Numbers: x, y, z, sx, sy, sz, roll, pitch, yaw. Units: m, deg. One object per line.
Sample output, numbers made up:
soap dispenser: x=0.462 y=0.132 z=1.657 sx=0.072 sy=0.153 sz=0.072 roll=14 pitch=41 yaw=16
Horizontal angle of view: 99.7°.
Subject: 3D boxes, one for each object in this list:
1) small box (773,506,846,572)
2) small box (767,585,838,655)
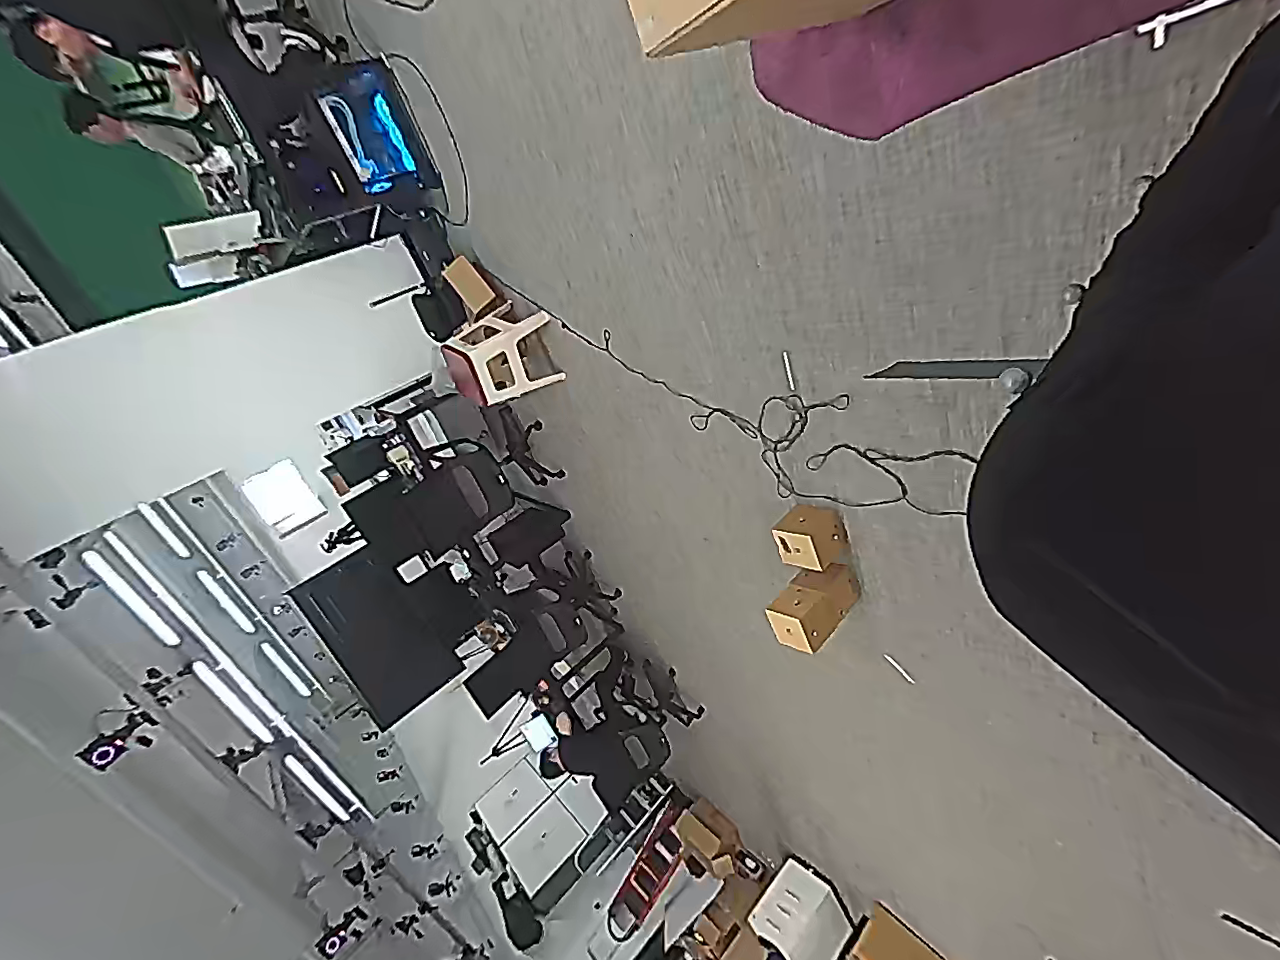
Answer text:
small box: x=0.637 y=0.213 z=2.025 sx=0.179 sy=0.176 sz=0.168 roll=7 pitch=128 yaw=53
small box: x=0.620 y=0.526 z=2.058 sx=0.168 sy=0.176 sz=0.179 roll=4 pitch=125 yaw=56
